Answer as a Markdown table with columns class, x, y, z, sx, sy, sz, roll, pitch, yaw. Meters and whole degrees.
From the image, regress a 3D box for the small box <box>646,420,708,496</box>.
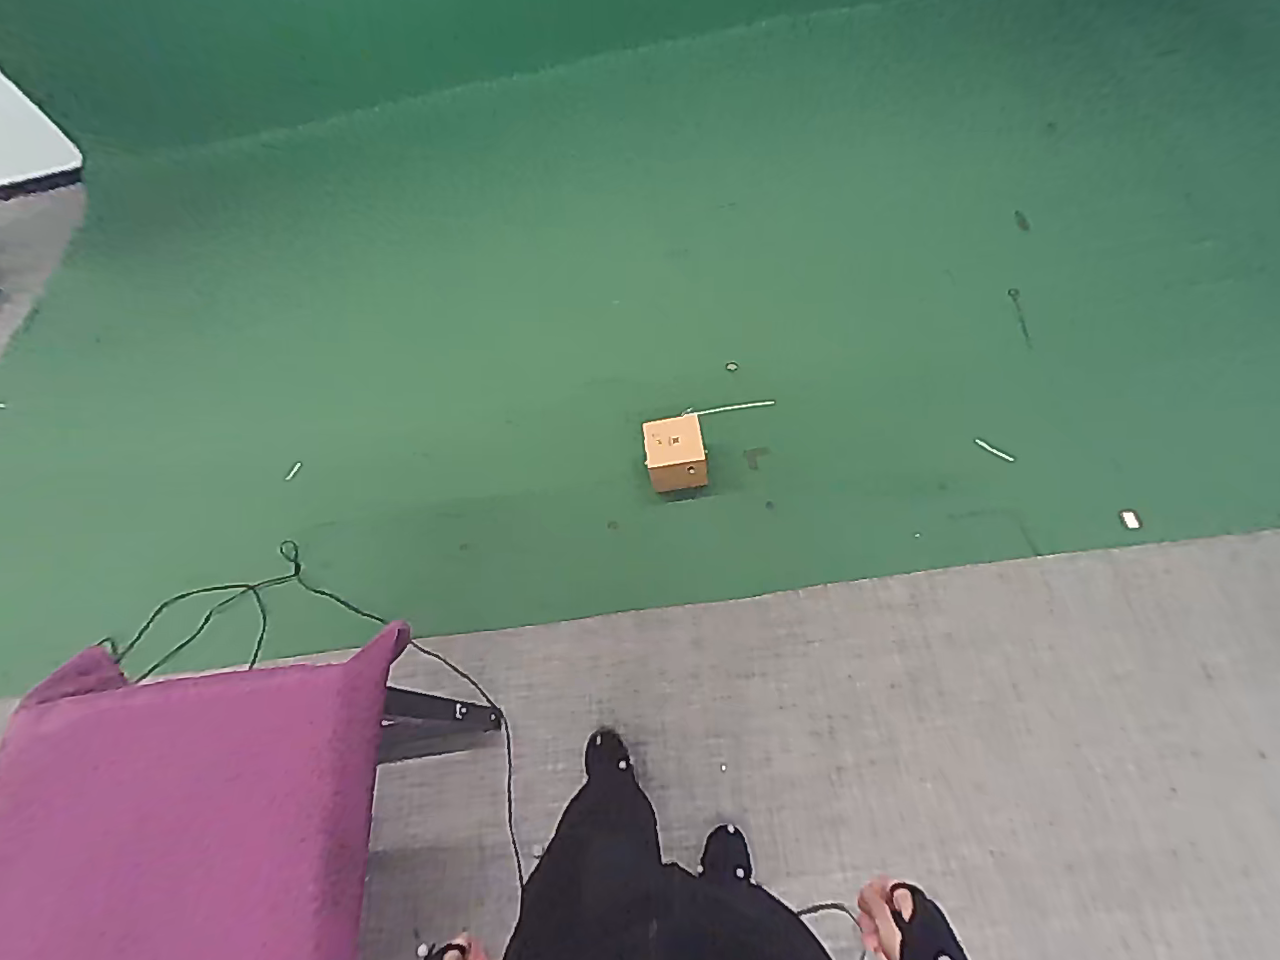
| class | x | y | z | sx | sy | sz | roll | pitch | yaw |
| --- | --- | --- | --- | --- | --- | --- | --- | --- | --- |
| small box | 0.120 | -0.065 | 1.707 | 0.179 | 0.176 | 0.168 | -9 | 61 | 5 |
